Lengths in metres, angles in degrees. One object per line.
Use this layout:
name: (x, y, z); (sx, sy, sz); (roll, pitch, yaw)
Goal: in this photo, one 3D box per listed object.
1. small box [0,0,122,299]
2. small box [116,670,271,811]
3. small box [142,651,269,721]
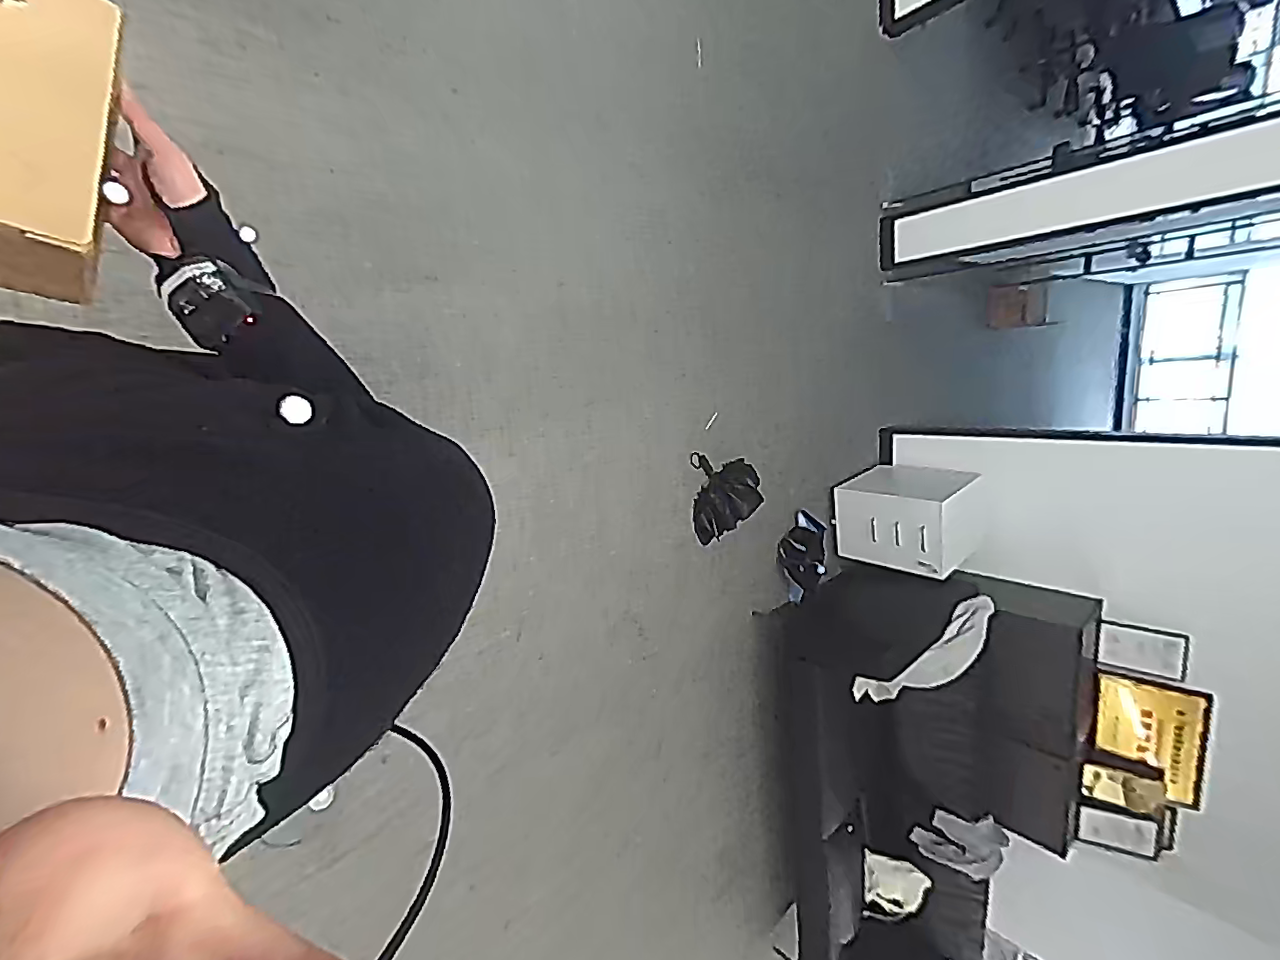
small box: (-0.475, -0.242, 0.367); (0.168, 0.176, 0.179); (6, 87, -46)
small box: (-0.891, 0.517, 1.090); (0.168, 0.176, 0.179); (48, 64, -34)
small box: (-0.988, 0.513, 1.224); (0.168, 0.176, 0.179); (39, 71, -36)
